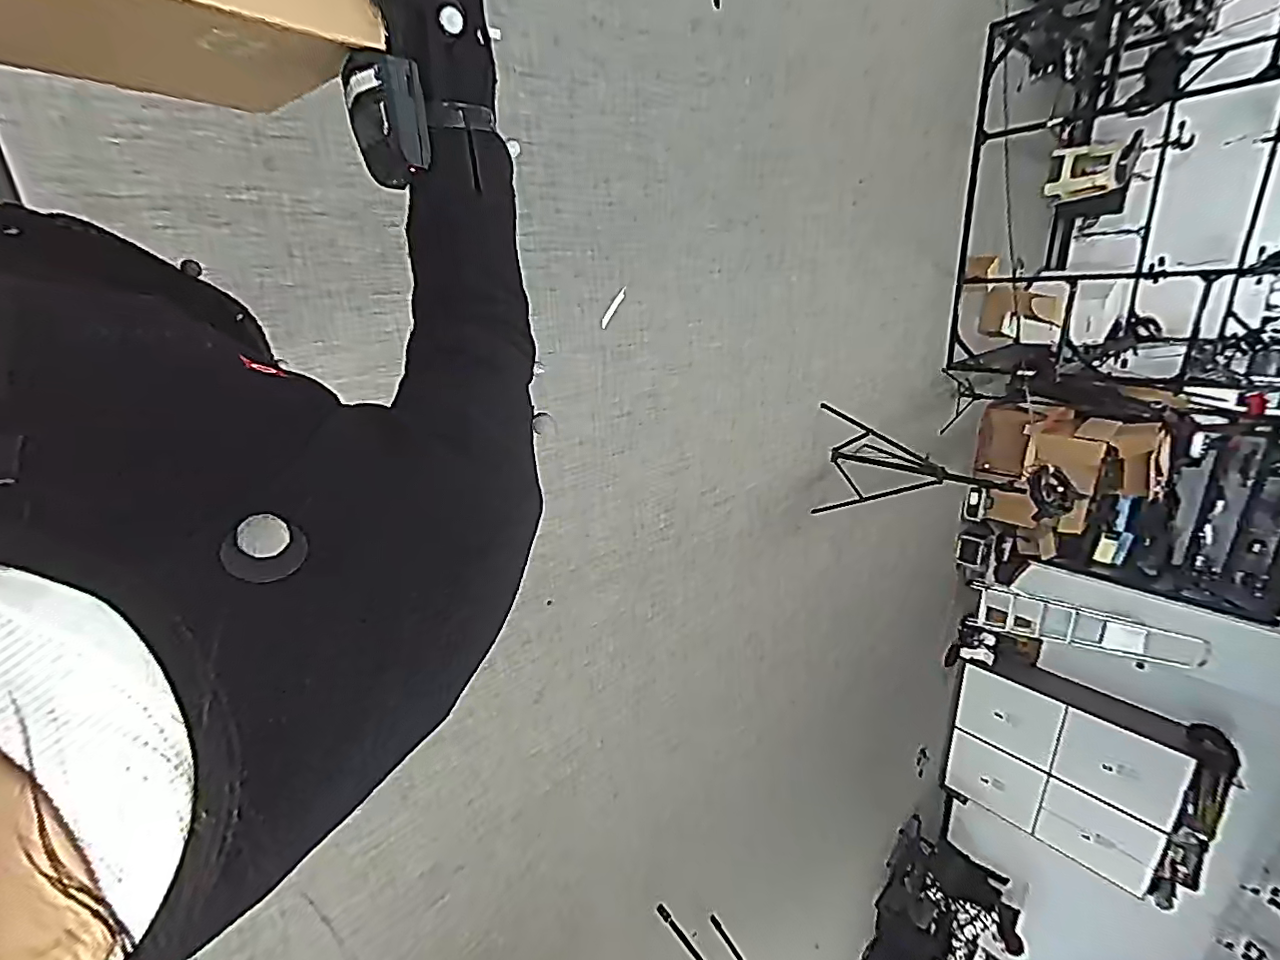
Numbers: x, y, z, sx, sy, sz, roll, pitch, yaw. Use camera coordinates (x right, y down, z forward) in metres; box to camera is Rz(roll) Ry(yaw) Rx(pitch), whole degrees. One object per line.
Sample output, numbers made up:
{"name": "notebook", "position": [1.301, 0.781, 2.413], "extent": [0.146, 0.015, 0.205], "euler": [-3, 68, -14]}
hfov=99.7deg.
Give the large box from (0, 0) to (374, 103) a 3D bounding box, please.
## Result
{"name": "large box", "position": [-0.403, -0.409, 0.245], "extent": [0.408, 0.320, 0.320], "euler": [-18, 123, -41]}
